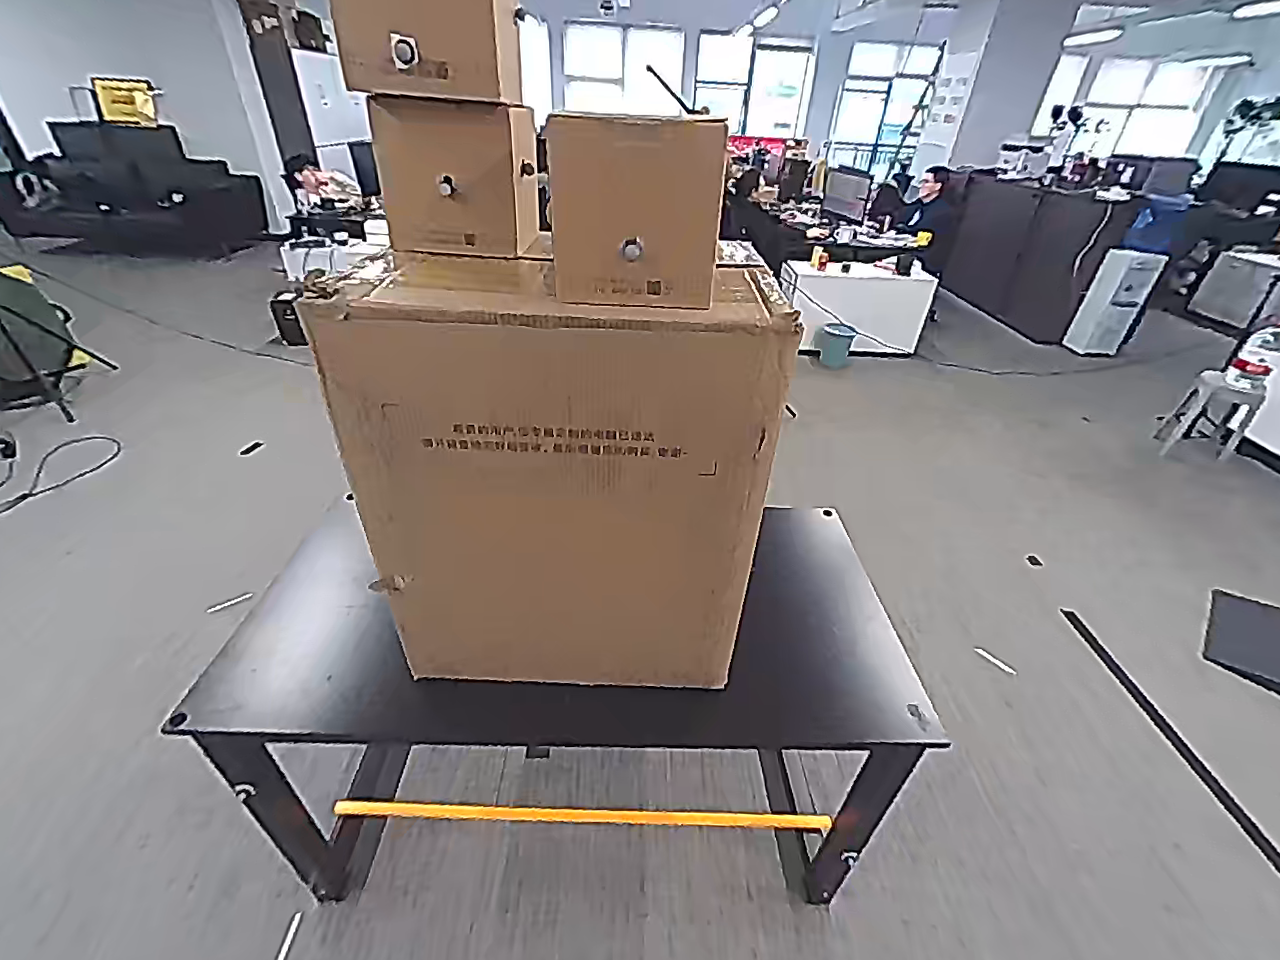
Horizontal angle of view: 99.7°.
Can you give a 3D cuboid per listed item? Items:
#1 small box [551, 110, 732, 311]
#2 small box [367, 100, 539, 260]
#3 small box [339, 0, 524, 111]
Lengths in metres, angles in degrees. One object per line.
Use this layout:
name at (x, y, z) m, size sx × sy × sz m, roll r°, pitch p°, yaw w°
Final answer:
small box at (0.002, -0.296, 0.590) m, size 0.168 × 0.176 × 0.179 m, roll 3°, pitch 35°, yaw 1°
small box at (-0.229, -0.401, 0.720) m, size 0.168 × 0.176 × 0.179 m, roll 3°, pitch 34°, yaw -2°
small box at (-0.224, -0.517, 0.600) m, size 0.168 × 0.176 × 0.179 m, roll 0°, pitch 35°, yaw -4°
